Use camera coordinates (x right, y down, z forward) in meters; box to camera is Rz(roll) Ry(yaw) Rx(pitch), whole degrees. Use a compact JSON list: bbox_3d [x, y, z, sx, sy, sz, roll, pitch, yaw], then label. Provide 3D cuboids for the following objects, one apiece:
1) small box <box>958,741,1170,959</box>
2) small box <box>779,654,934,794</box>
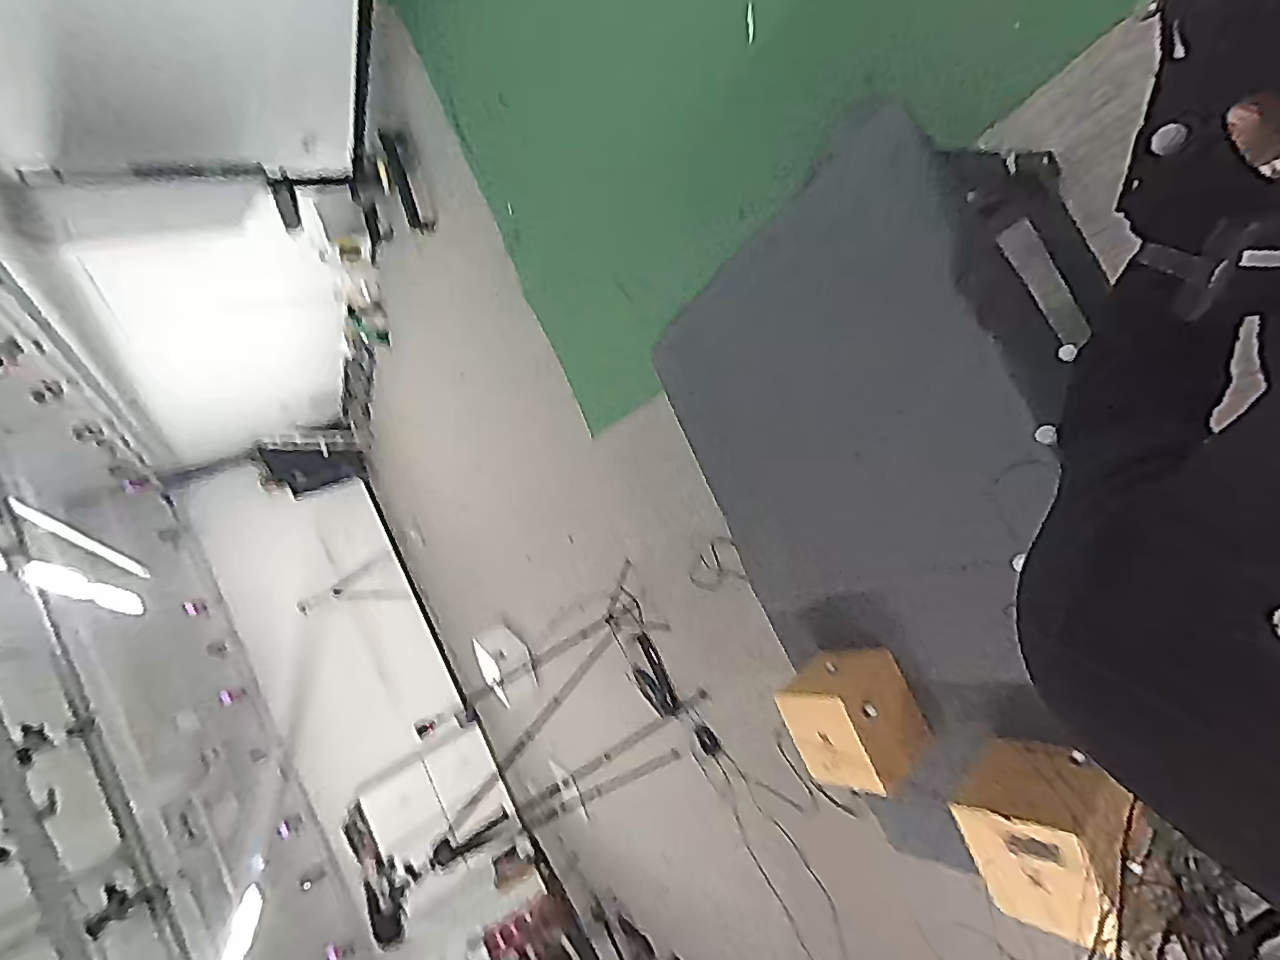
[{"bbox_3d":[0.601,0.504,0.770,0.168,0.176,0.179,-27,87,56],"label":"small box"},{"bbox_3d":[0.400,0.436,1.001,0.168,0.176,0.179,-32,83,55],"label":"small box"}]
